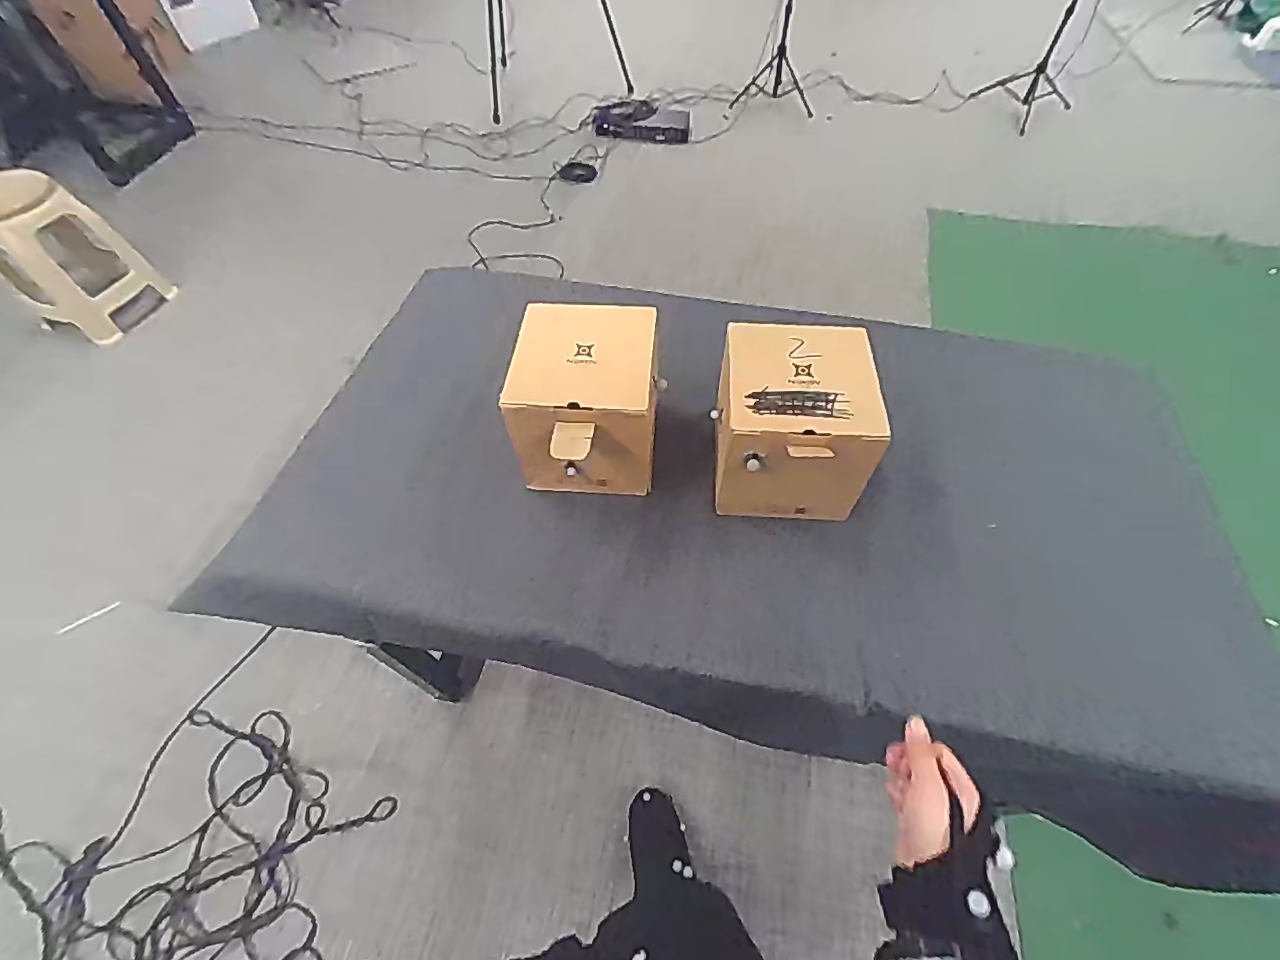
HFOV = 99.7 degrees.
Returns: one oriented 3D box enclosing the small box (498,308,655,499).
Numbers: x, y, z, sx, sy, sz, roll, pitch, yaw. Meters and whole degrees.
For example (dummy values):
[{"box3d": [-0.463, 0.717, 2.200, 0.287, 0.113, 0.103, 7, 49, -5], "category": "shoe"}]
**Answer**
[{"box3d": [-0.068, -0.096, 0.694, 0.168, 0.176, 0.179, 2, 56, 2], "category": "small box"}]
